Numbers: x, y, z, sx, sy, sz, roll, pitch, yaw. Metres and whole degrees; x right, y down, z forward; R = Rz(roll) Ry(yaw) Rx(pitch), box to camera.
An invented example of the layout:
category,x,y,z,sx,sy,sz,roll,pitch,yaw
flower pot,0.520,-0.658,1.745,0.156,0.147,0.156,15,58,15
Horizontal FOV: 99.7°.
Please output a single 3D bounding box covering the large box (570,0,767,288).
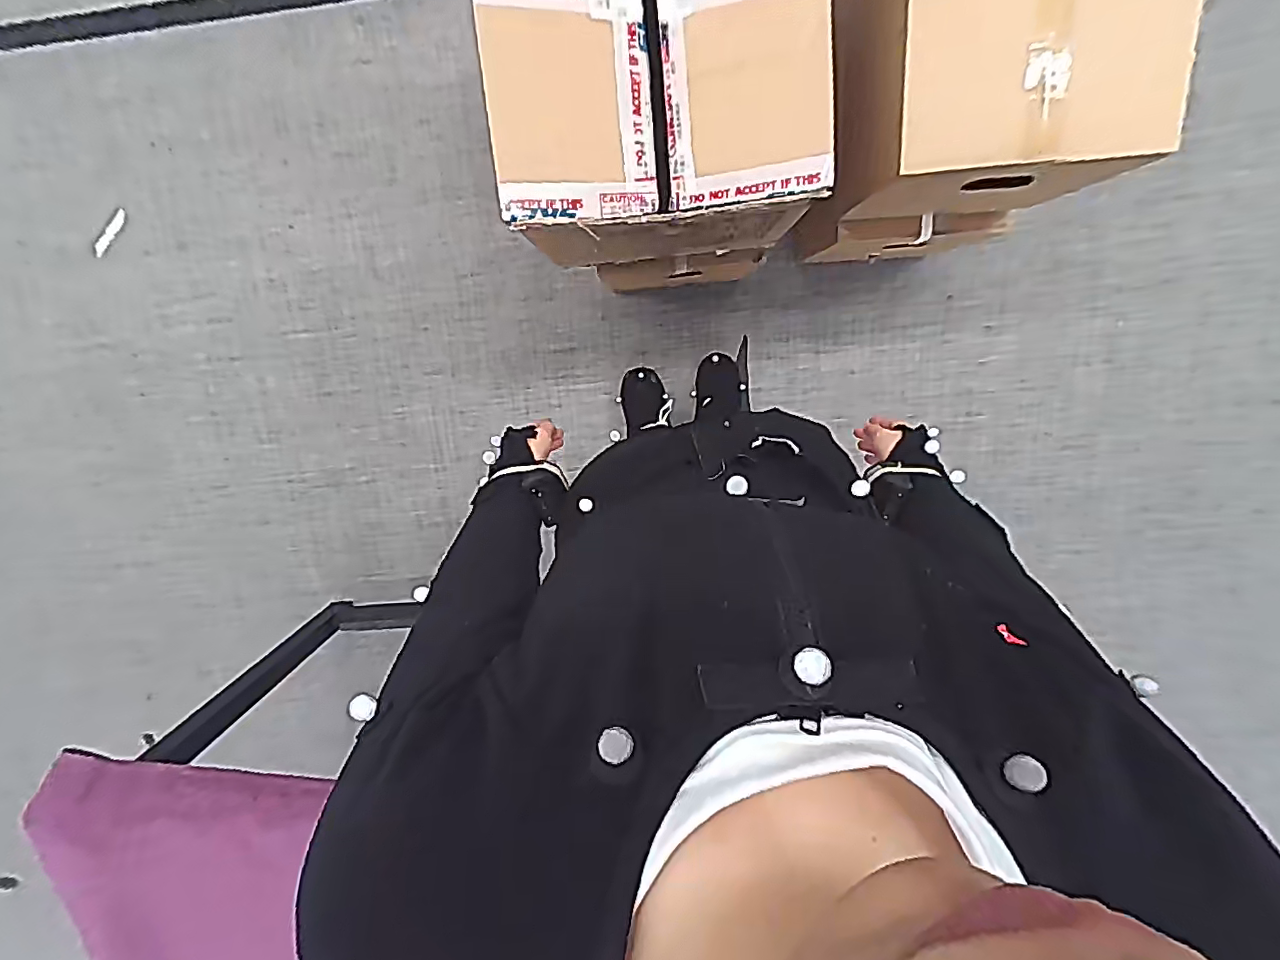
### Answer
category,x,y,z,sx,sy,sz,roll,pitch,yaw
large box,0.060,-0.622,1.082,0.320,0.320,0.408,-5,105,4
